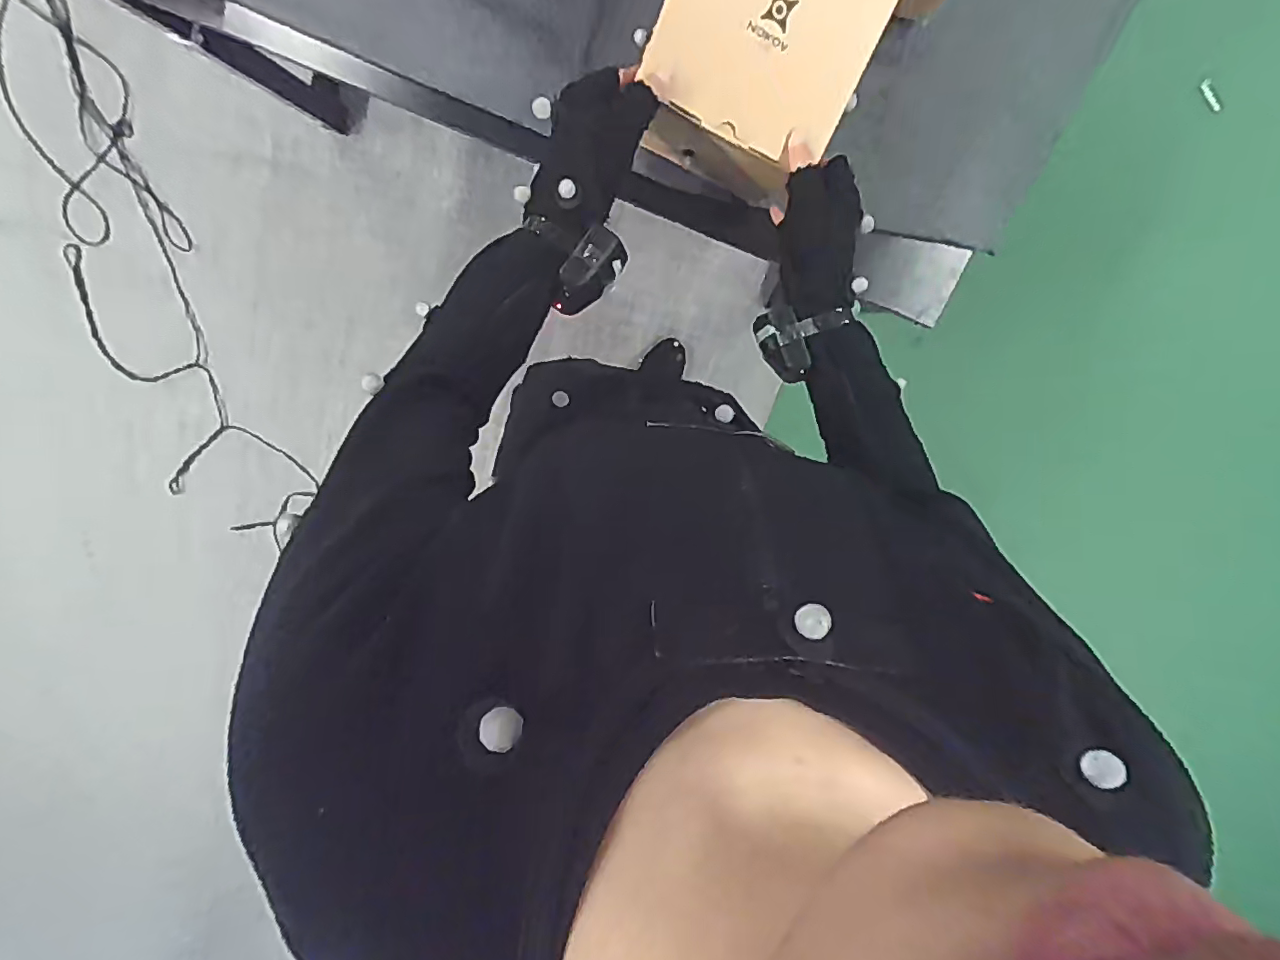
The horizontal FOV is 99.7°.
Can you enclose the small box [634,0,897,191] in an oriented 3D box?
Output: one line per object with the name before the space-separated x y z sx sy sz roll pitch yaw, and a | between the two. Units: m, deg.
small box | 0.100 -0.391 0.490 0.168 0.176 0.179 20 110 -12
